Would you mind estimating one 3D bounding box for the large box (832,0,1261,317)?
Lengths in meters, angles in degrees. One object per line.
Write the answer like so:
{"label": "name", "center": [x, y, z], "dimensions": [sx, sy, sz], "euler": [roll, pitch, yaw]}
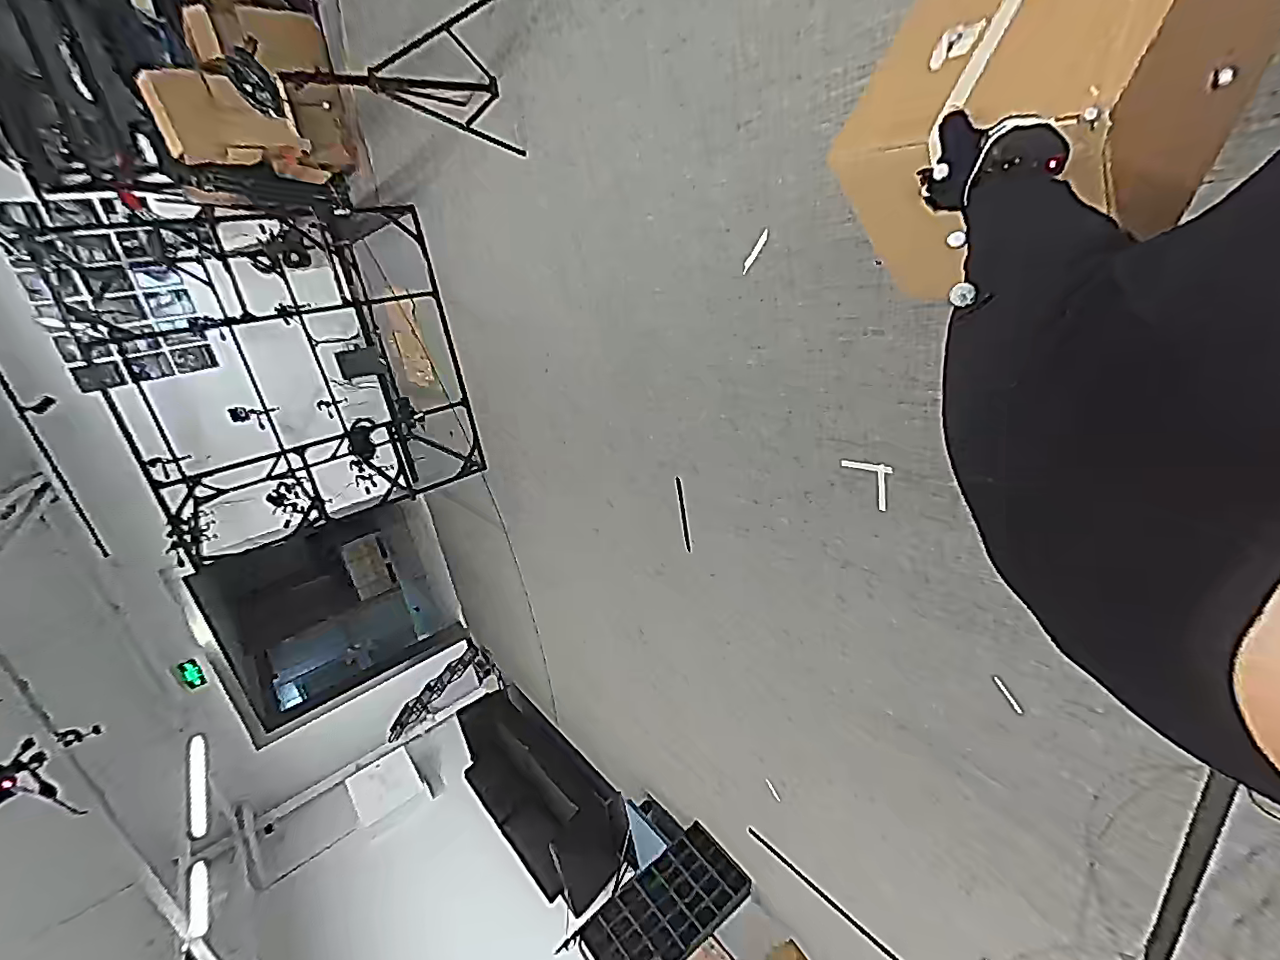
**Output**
{"label": "large box", "center": [0.542, -0.490, 0.729], "dimensions": [0.320, 0.320, 0.408], "euler": [30, 89, 50]}
